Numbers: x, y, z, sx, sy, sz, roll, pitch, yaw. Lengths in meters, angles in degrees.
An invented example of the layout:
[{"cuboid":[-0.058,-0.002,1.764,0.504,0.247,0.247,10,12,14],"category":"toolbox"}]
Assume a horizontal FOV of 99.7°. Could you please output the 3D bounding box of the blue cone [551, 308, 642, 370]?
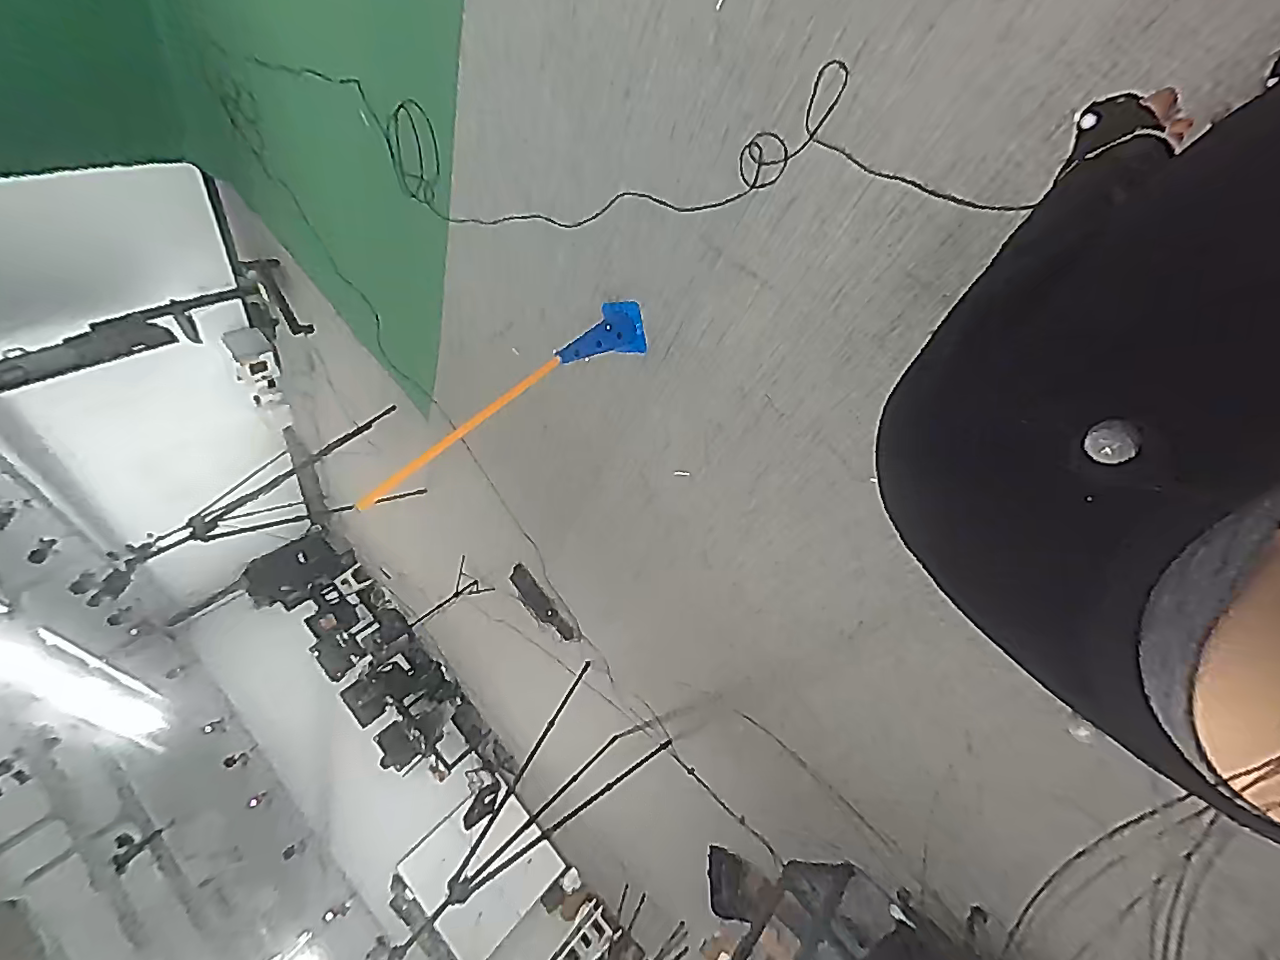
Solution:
[{"cuboid":[-0.178,-0.501,2.028,0.192,0.380,0.193,12,128,42],"category":"blue cone"}]
